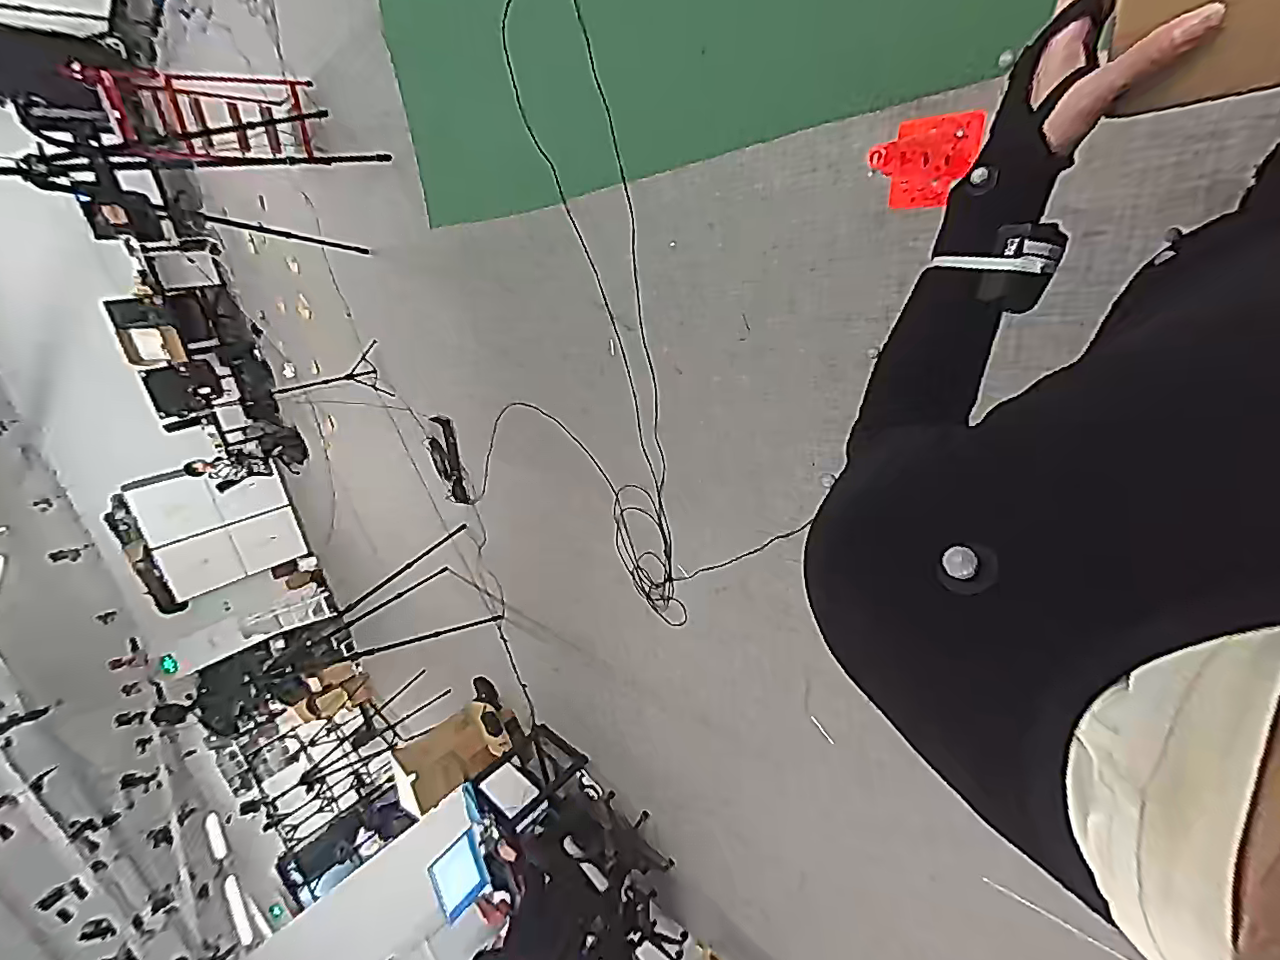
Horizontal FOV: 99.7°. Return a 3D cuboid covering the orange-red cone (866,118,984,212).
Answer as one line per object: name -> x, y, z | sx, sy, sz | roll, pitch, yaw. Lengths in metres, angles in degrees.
orange-red cone -> 0.611, -0.727, 1.242 | 0.199, 0.360, 0.198 | 23, 125, 40
